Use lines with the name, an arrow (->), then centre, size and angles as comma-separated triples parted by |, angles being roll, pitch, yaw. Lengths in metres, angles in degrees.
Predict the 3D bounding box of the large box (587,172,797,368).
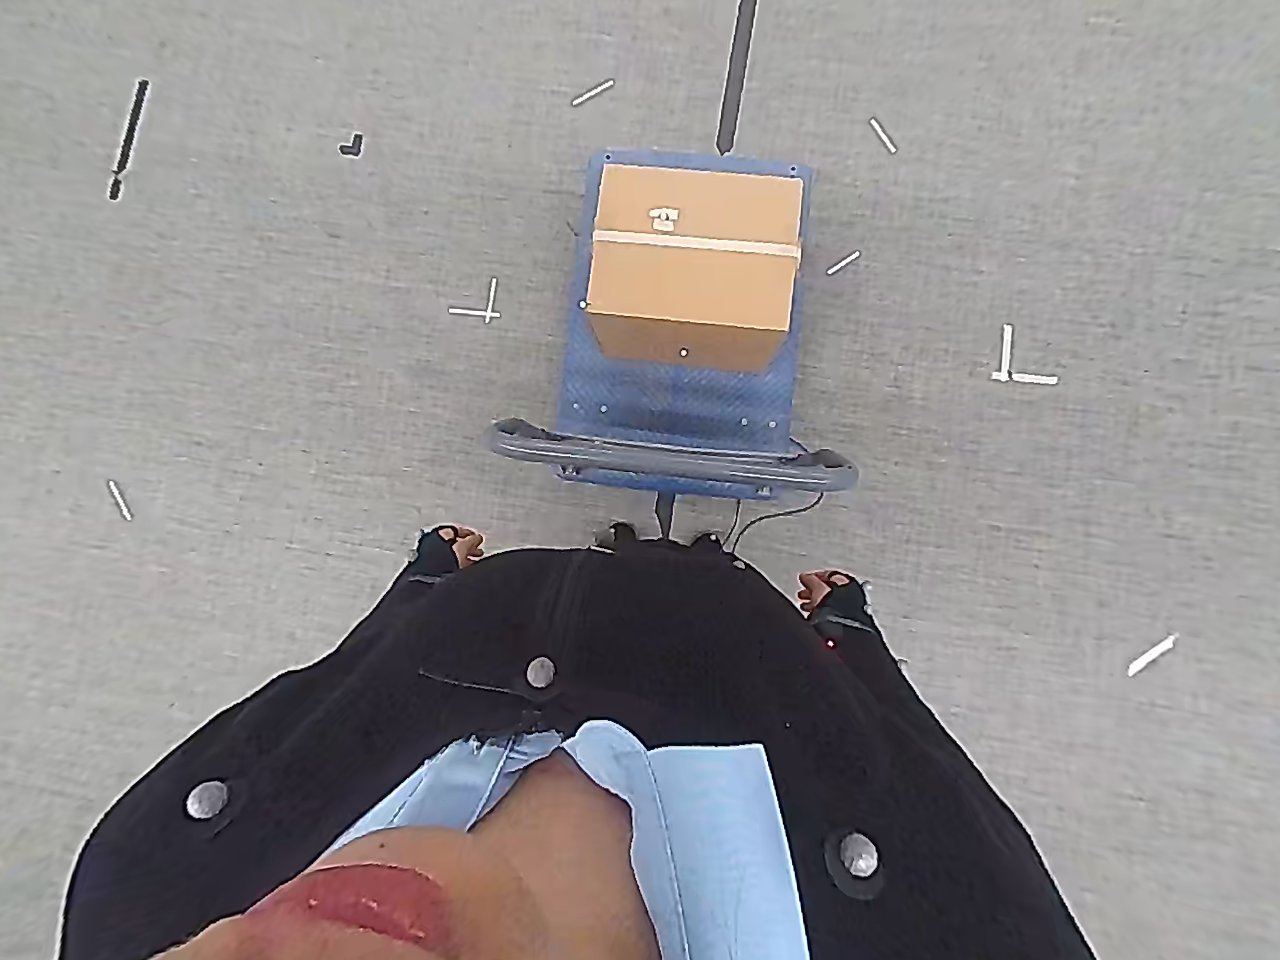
large box -> 0.117, -0.456, 1.235 | 0.408, 0.320, 0.320 | 6, 85, 5
